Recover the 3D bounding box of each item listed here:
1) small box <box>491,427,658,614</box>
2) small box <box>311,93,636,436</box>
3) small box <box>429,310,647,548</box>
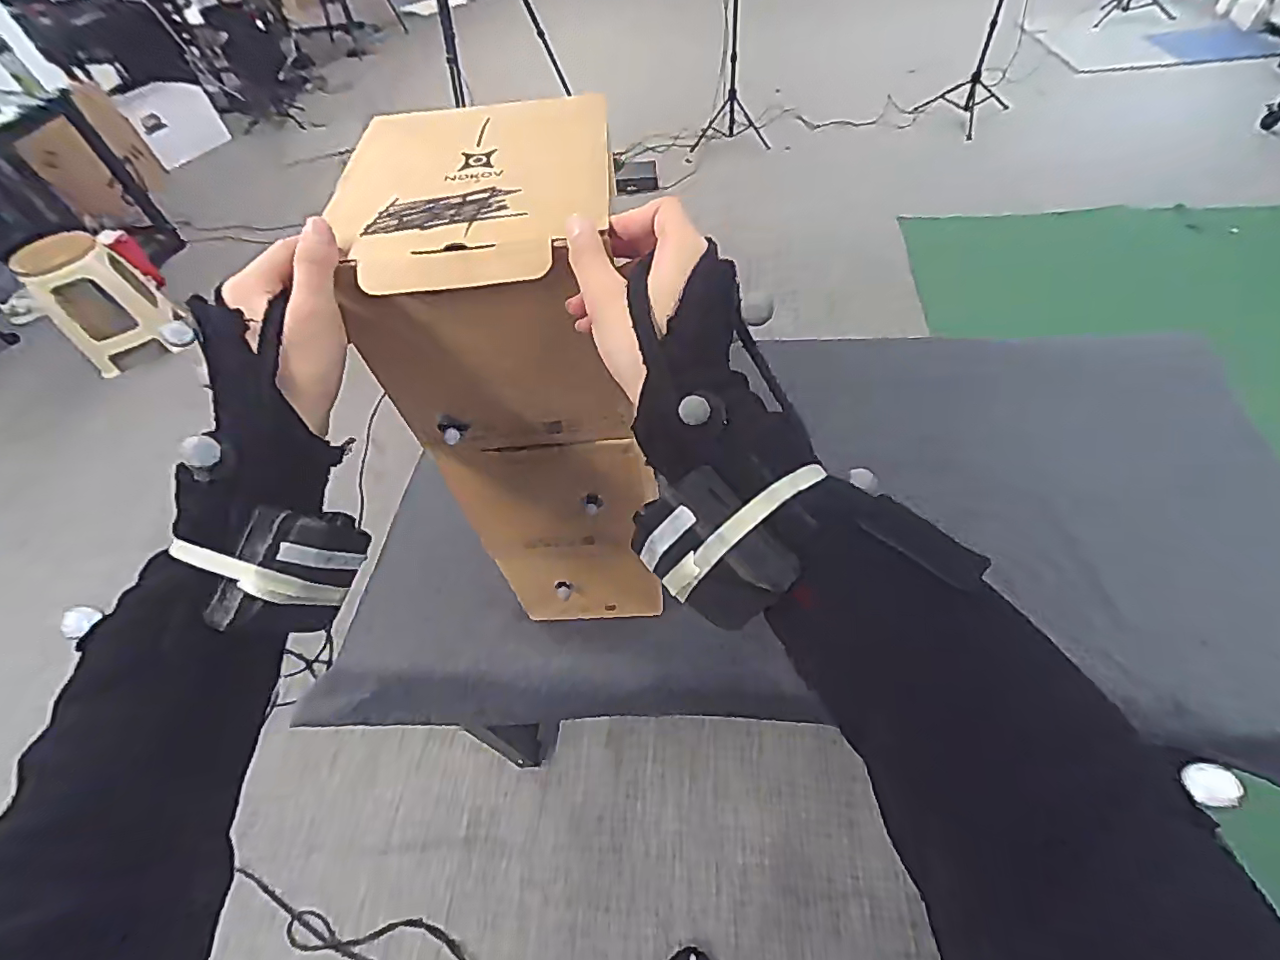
[{"bbox_3d":[-0.066,0.054,0.660,0.168,0.176,0.179,-3,52,3],"label":"small box"},{"bbox_3d":[-0.092,-0.145,0.395,0.168,0.176,0.179,-4,55,1],"label":"small box"},{"bbox_3d":[-0.080,-0.044,0.531,0.168,0.176,0.179,-3,51,2],"label":"small box"}]
